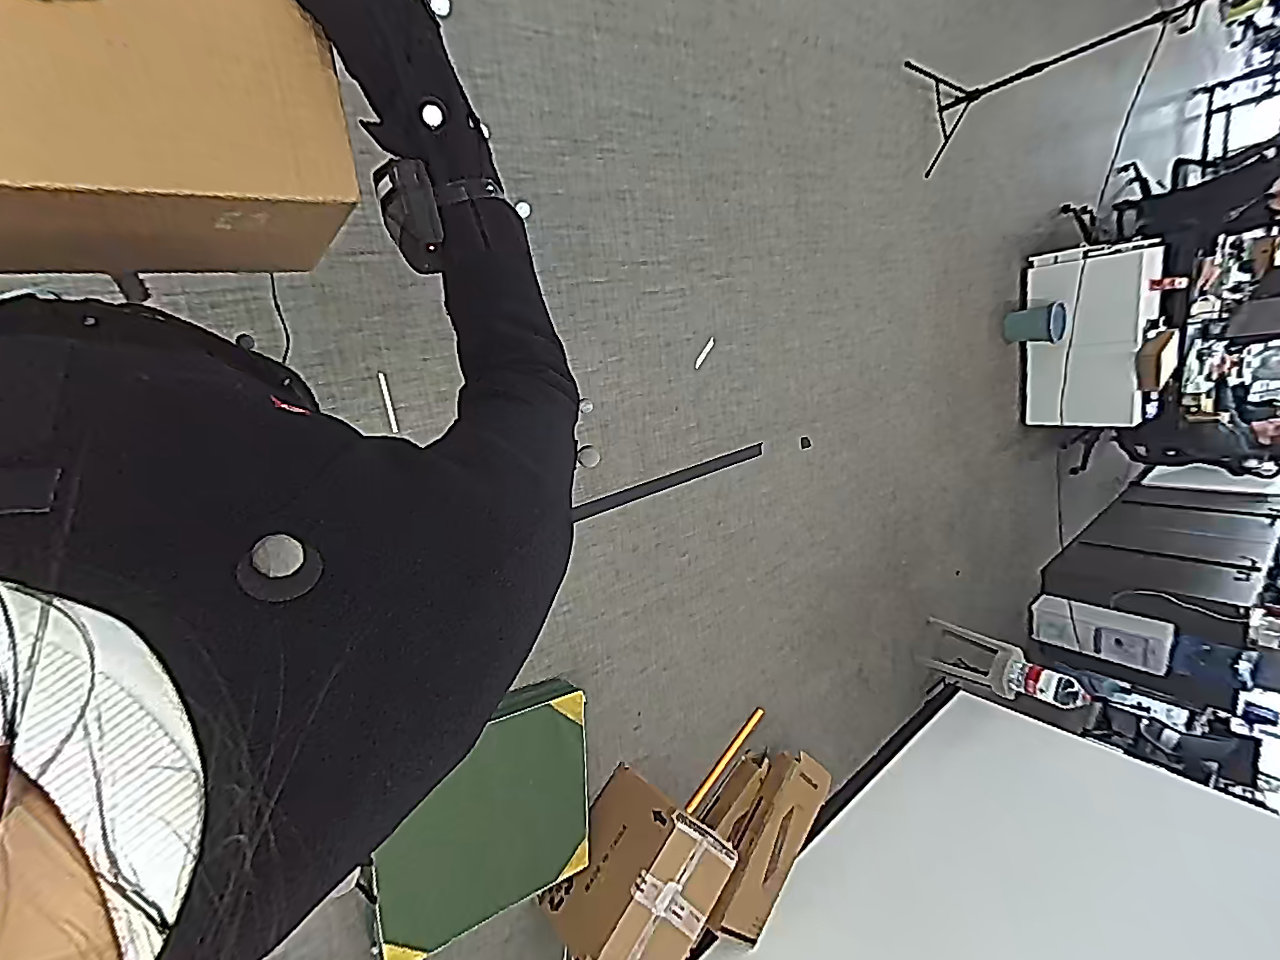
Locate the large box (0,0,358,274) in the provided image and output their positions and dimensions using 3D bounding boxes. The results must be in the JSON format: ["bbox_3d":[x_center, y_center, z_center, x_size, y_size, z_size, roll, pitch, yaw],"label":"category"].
[{"bbox_3d":[-0.467,-0.321,0.358,0.408,0.320,0.320,-17,109,-34],"label":"large box"}]
